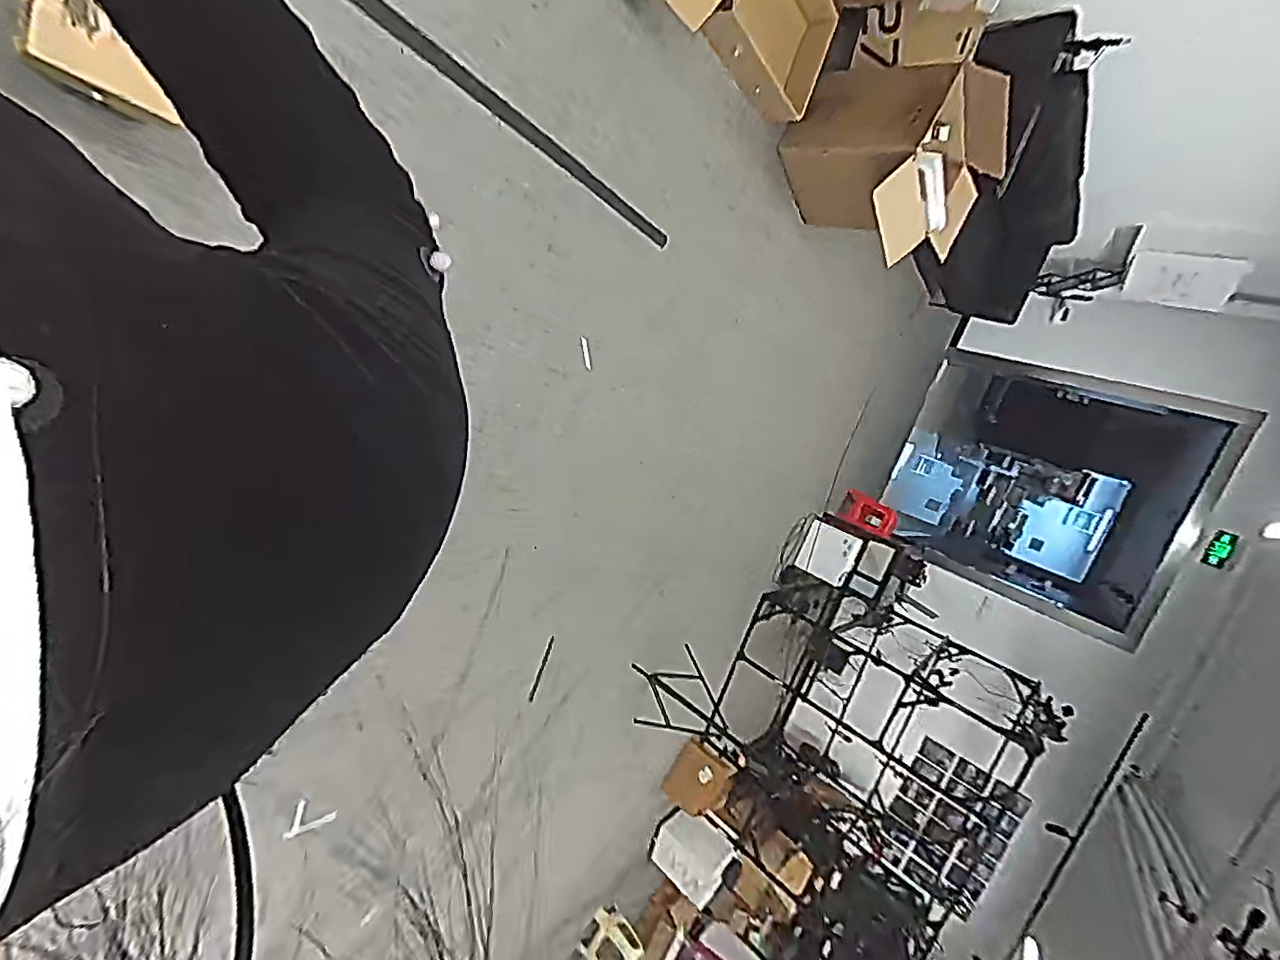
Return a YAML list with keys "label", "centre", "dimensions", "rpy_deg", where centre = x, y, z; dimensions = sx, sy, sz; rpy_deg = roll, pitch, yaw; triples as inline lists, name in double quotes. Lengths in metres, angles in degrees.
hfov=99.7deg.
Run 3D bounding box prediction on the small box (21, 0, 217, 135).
- label: "small box"
  centre: [-0.774, -0.642, 0.803]
  dimensions: [0.179, 0.176, 0.168]
  rpy_deg: [8, 106, -54]
